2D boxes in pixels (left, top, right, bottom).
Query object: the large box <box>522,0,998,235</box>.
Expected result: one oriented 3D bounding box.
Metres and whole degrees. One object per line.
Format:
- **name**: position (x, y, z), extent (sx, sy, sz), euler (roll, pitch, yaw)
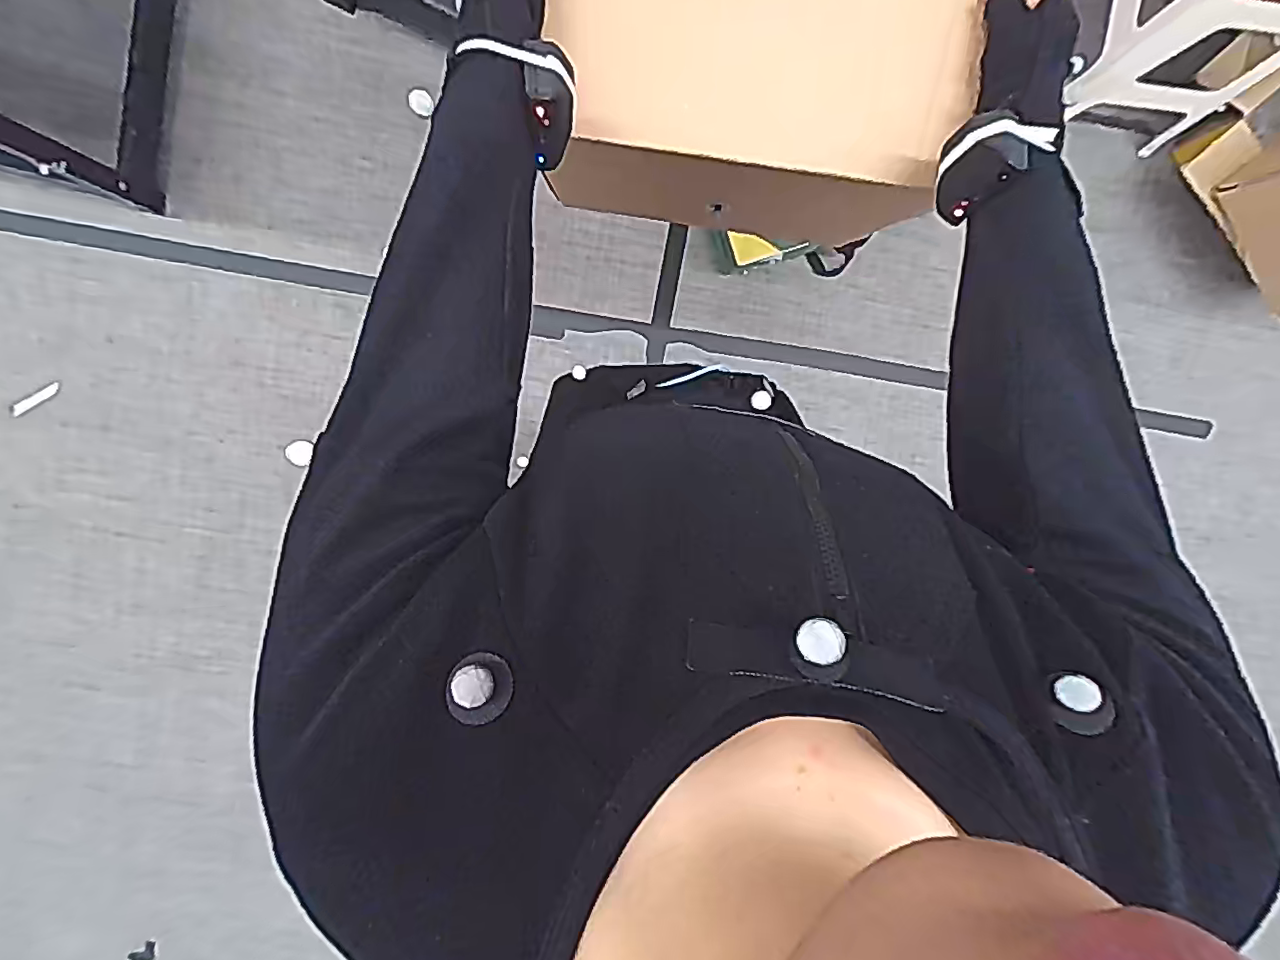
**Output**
- **large box**: position (0.109, -0.475, 0.591), extent (0.408, 0.320, 0.320), euler (7, 105, -3)
